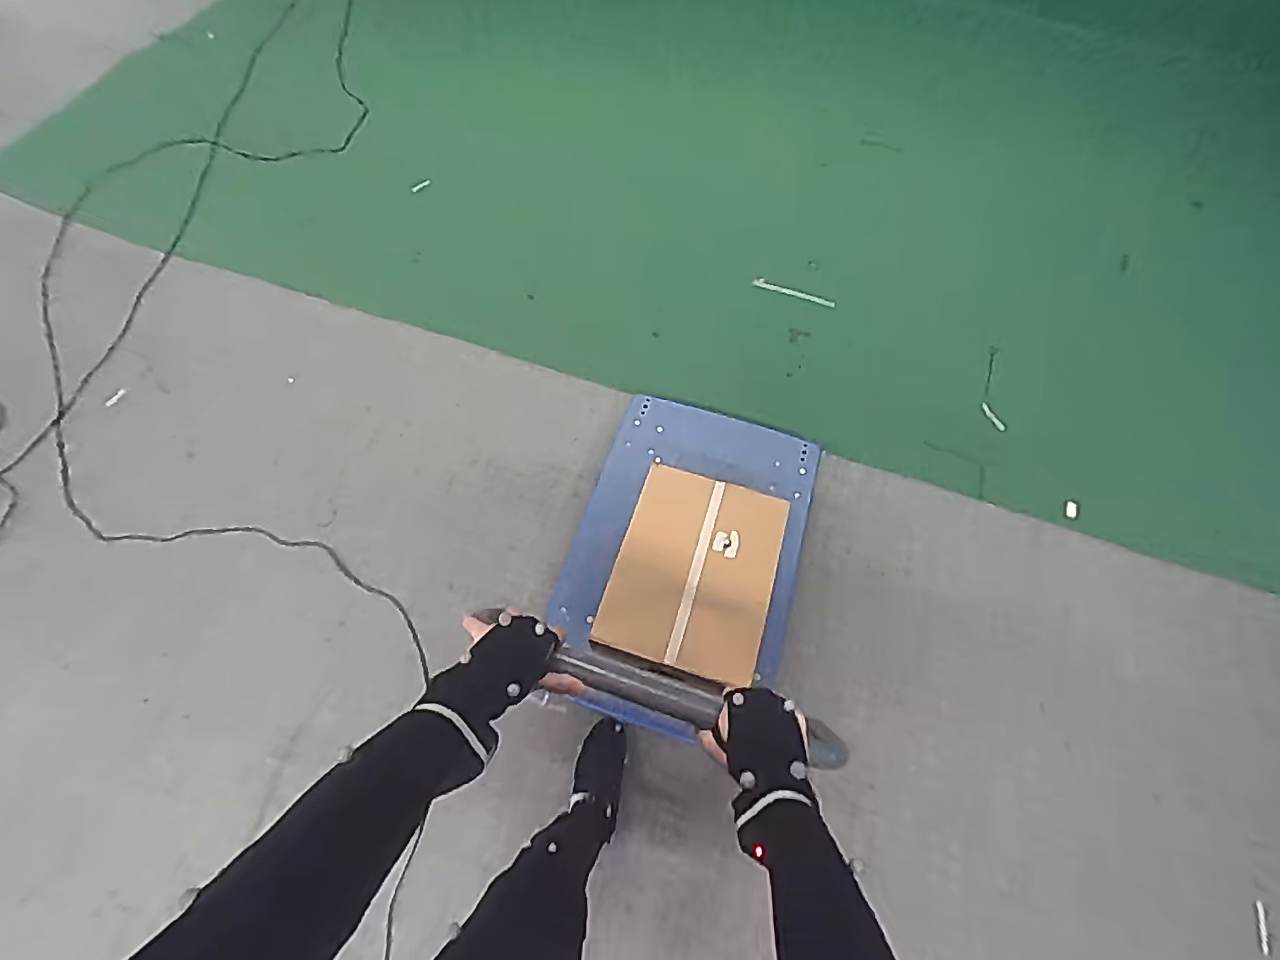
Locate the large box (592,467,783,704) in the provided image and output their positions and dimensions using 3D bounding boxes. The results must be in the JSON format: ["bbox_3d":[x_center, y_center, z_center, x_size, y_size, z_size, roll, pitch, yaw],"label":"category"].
[{"bbox_3d":[0.105,0.248,1.228,0.320,0.320,0.408,17,63,6],"label":"large box"}]
